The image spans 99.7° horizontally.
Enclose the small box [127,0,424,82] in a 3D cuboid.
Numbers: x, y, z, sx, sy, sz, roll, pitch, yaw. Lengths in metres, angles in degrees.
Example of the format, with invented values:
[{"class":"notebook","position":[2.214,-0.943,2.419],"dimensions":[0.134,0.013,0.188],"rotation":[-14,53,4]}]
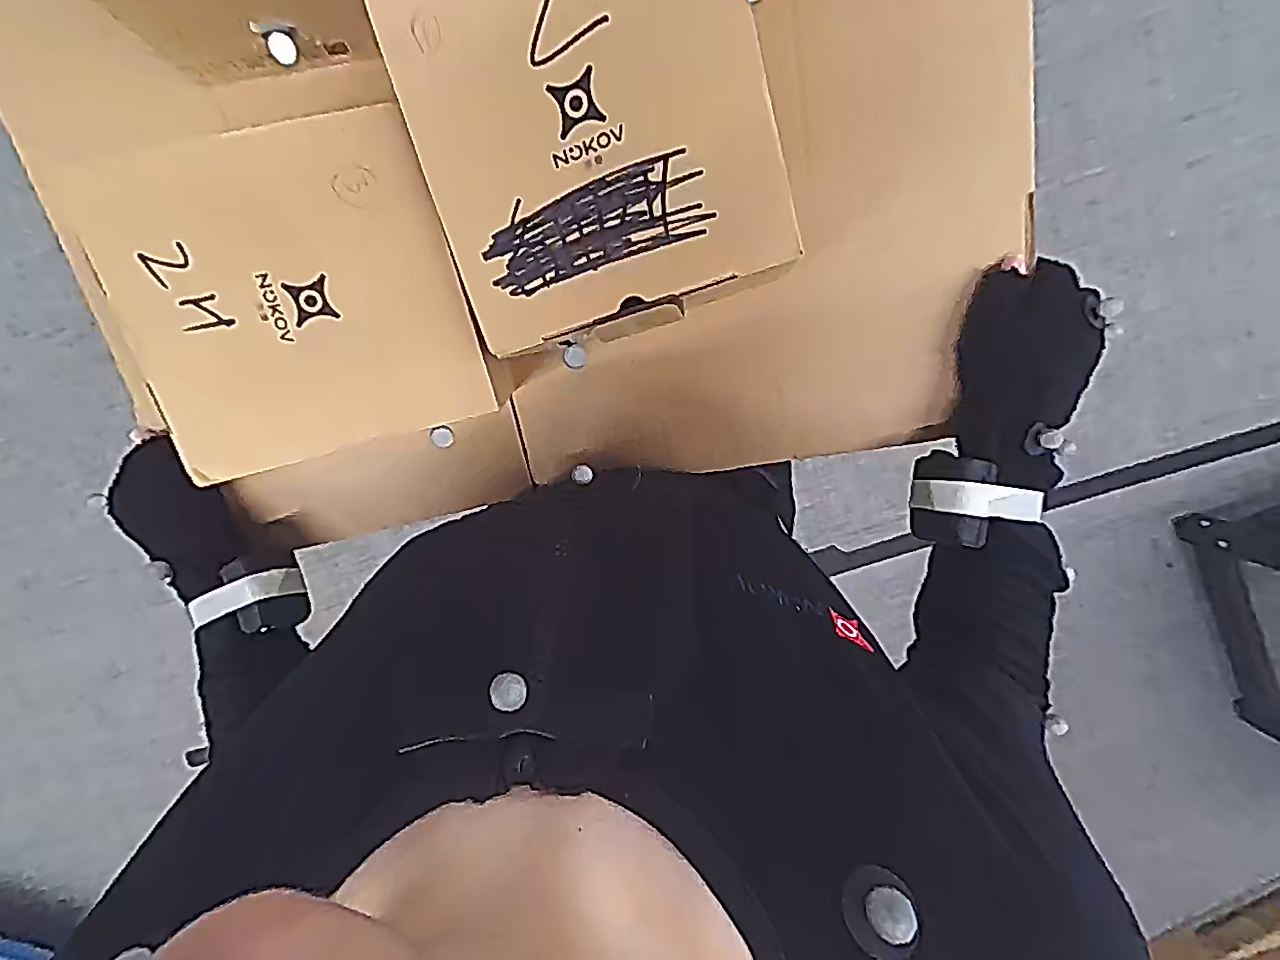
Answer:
[{"class":"small box","position":[-0.242,-0.370,0.303],"dimensions":[0.168,0.176,0.179],"rotation":[-15,106,-6]}]
